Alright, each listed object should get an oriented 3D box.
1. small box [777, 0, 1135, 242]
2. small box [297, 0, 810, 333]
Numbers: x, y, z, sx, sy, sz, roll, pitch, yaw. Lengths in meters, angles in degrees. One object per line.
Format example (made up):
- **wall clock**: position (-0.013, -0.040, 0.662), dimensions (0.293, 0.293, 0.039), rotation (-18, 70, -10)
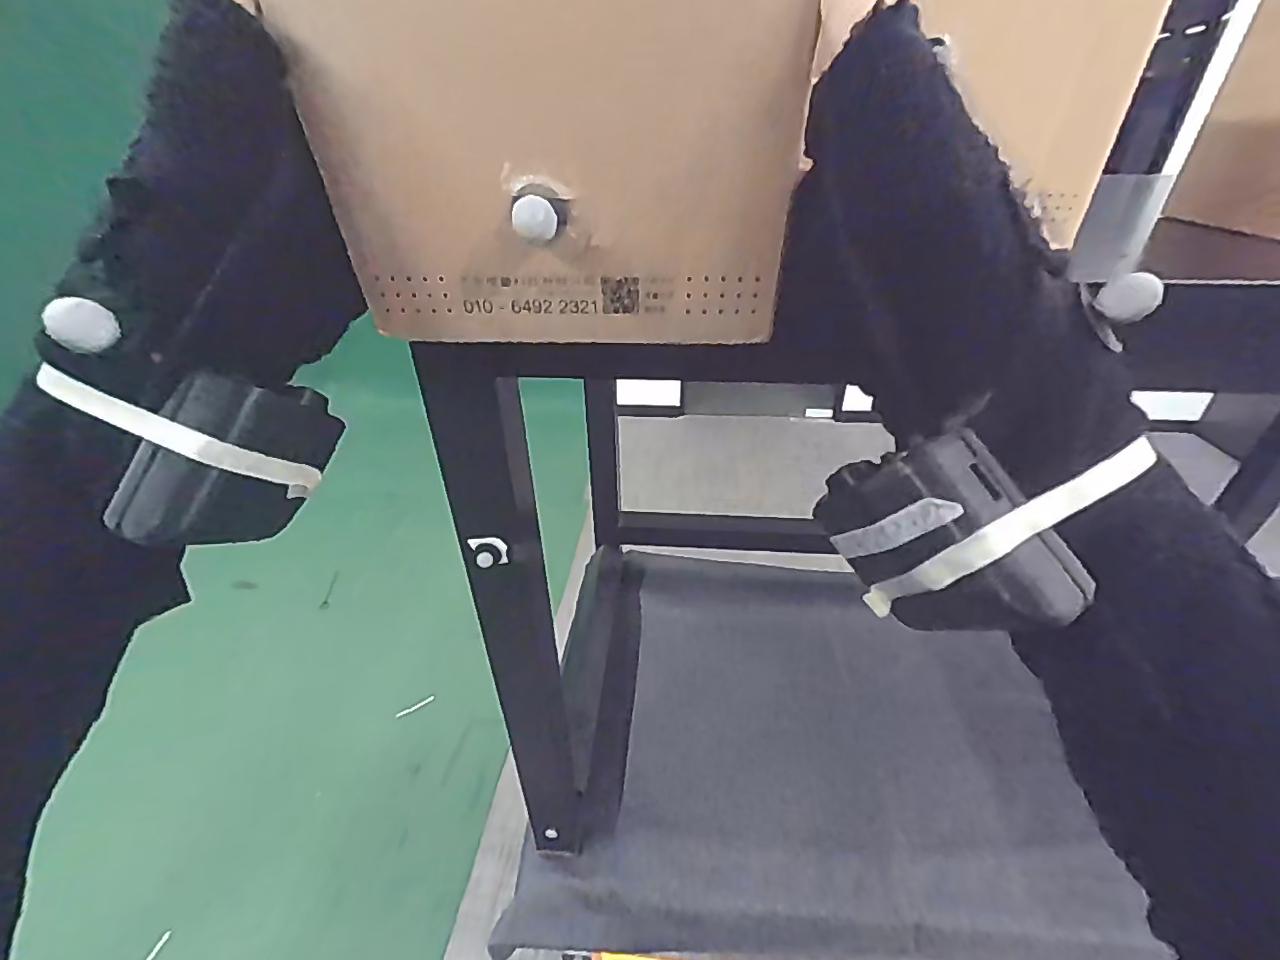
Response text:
- **small box**: position (0.183, -0.260, 0.358), dimensions (0.168, 0.176, 0.179), rotation (5, 33, 8)
- **small box**: position (-0.027, -0.180, 0.237), dimensions (0.168, 0.176, 0.179), rotation (1, 41, 3)
